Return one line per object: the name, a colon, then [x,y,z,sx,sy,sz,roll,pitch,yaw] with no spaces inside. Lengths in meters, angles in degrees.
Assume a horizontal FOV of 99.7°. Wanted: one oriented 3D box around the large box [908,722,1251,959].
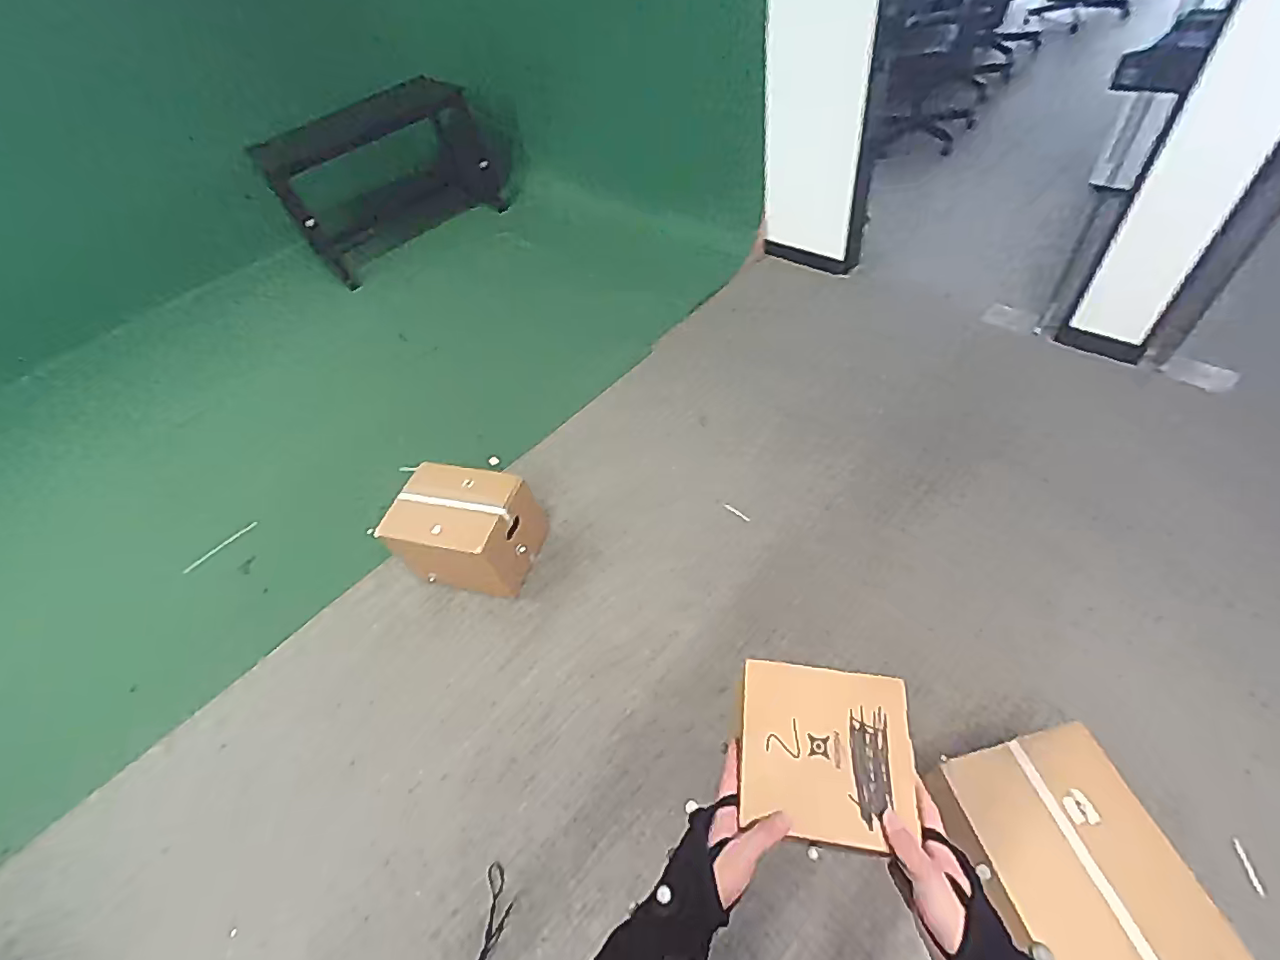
large box: [0.819,0.775,1.095,0.320,0.320,0.408,-15,50,-2]
